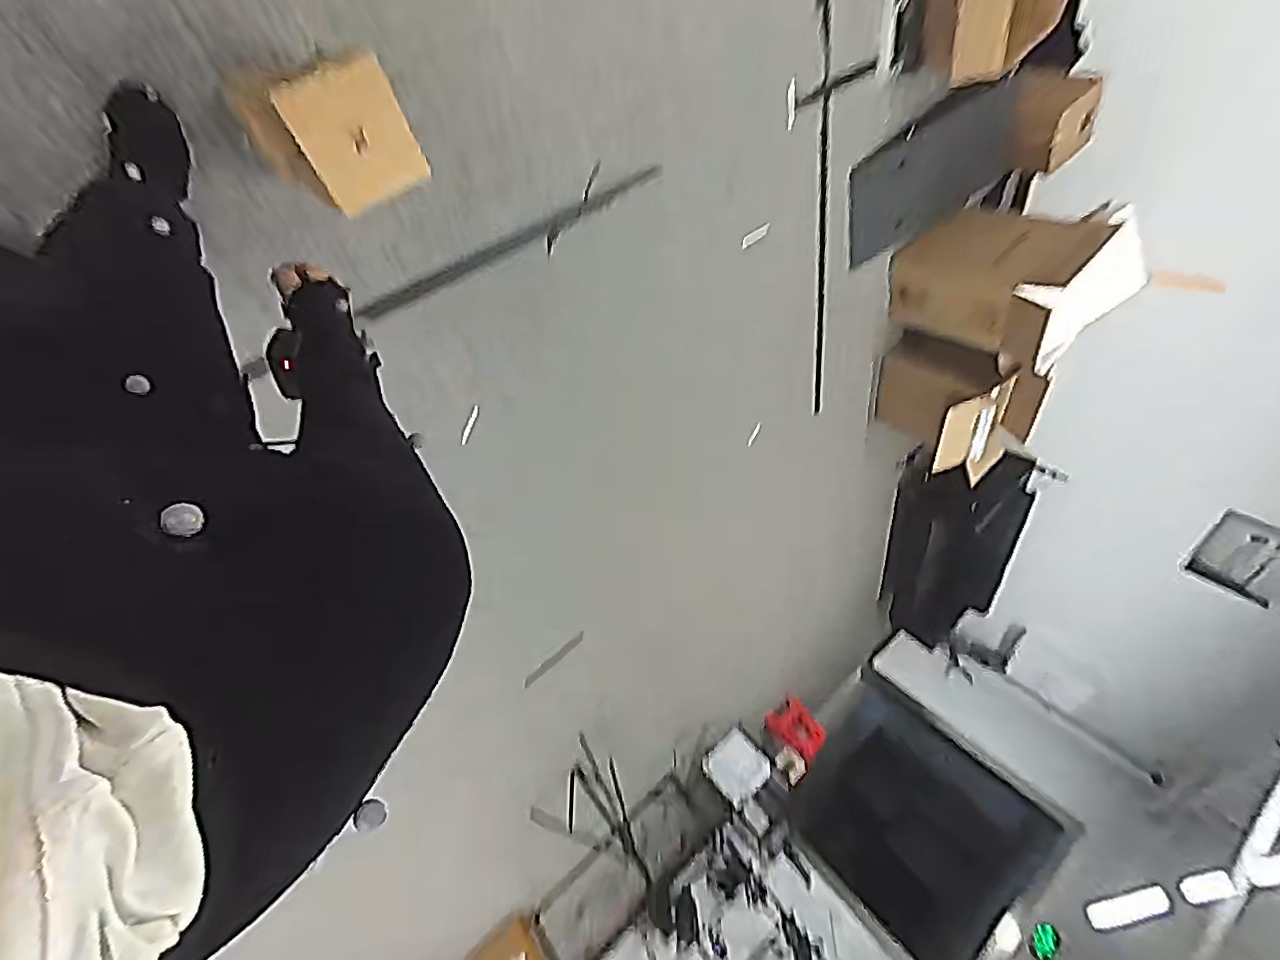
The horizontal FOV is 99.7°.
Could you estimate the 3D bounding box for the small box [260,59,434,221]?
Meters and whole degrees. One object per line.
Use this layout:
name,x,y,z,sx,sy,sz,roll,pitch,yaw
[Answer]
small box,-0.479,-0.561,0.890,0.168,0.176,0.179,-39,139,-16

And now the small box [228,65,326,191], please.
small box,-0.686,-0.713,1.092,0.179,0.176,0.168,-38,138,-17
